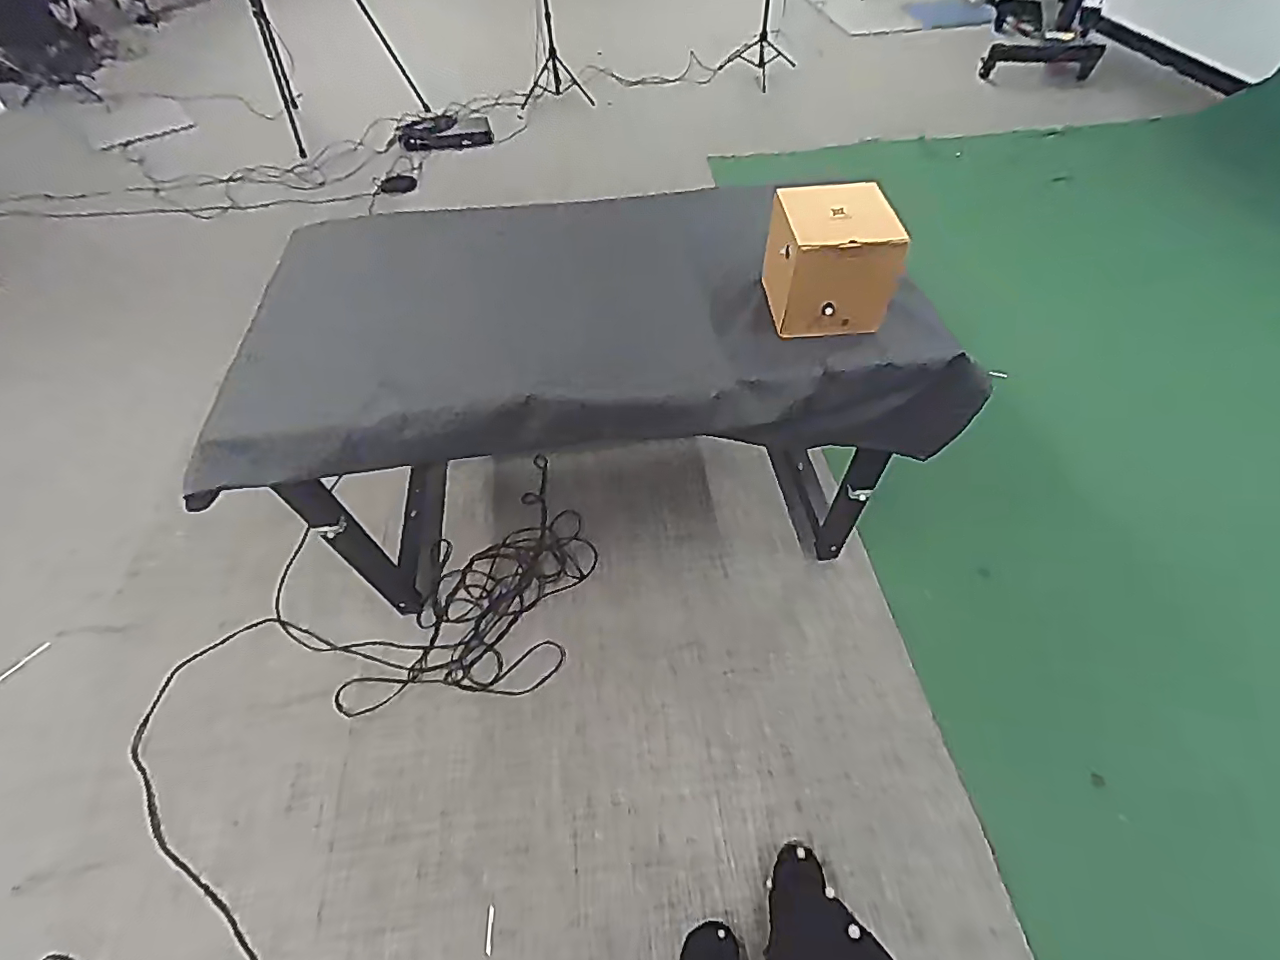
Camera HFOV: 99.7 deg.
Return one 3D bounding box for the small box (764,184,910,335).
[{"bbox_3d":[0.311,-0.364,0.898,0.168,0.176,0.179,-4,54,0],"label":"small box"}]
